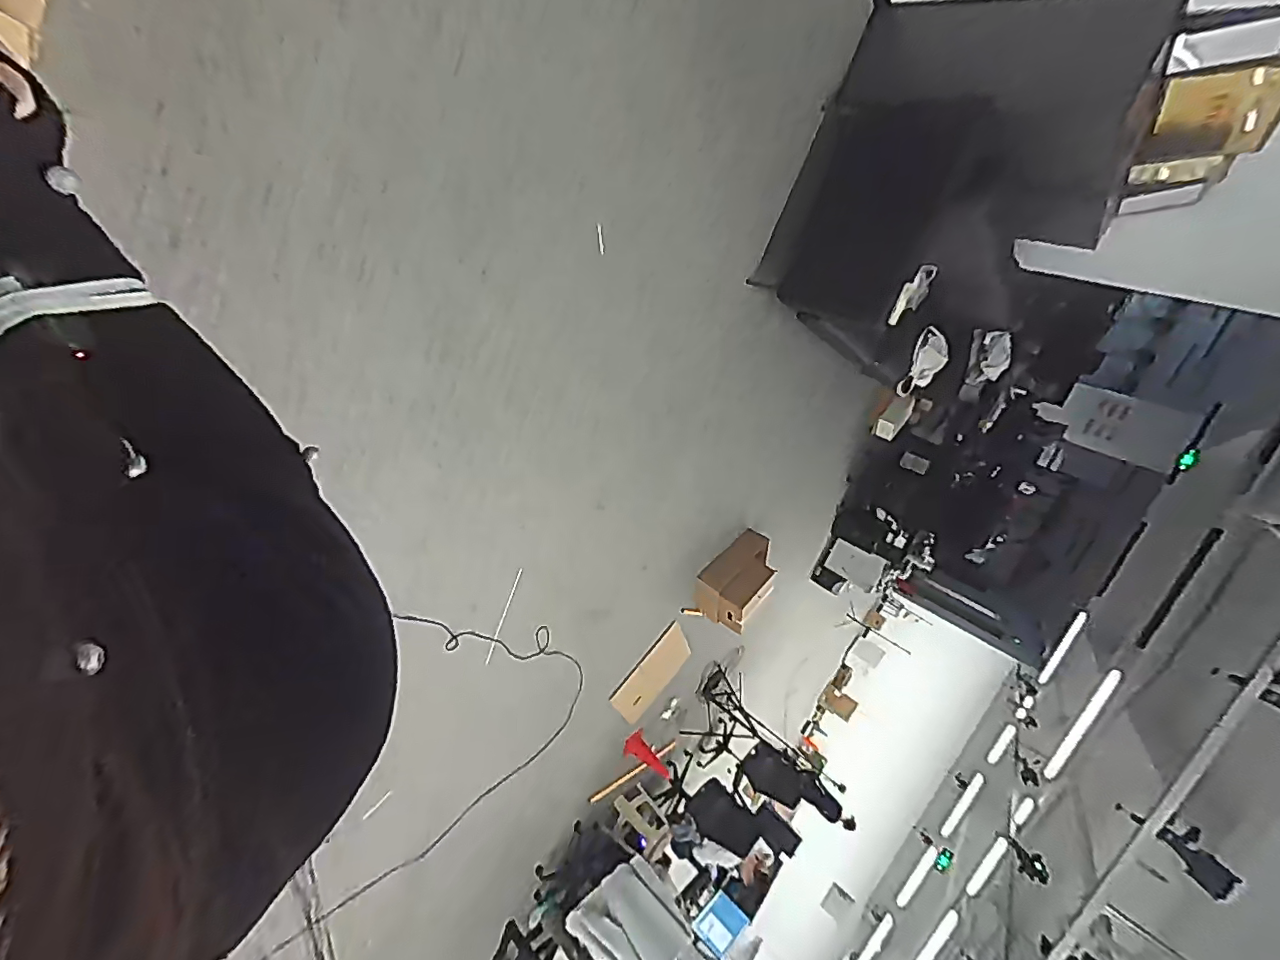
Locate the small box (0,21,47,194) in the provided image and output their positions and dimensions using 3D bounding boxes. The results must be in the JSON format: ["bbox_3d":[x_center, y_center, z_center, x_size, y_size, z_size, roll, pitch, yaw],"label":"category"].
[{"bbox_3d":[-0.774,-0.433,0.567,0.179,0.176,0.168,5,109,-55],"label":"small box"}]
